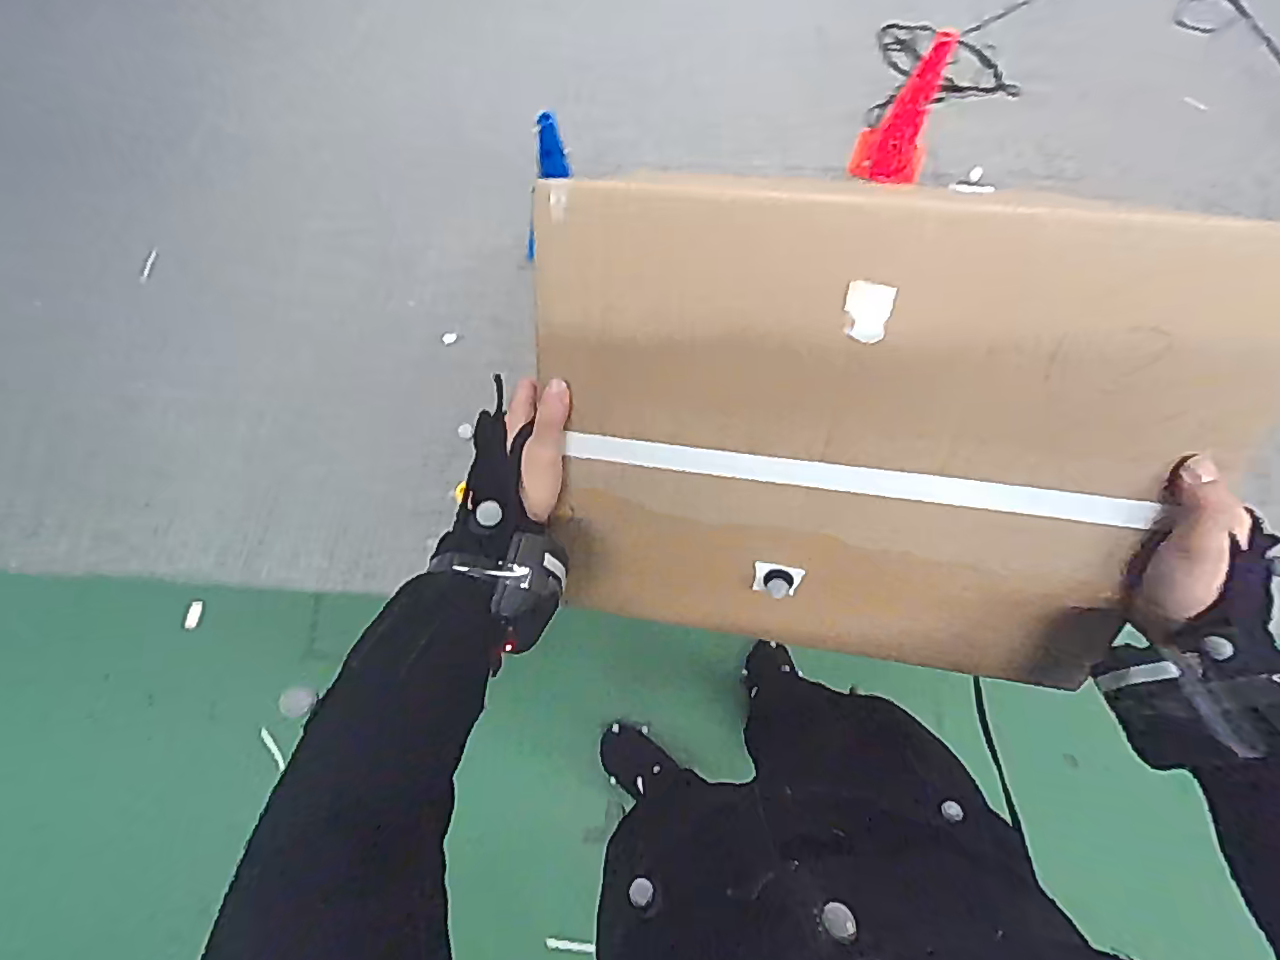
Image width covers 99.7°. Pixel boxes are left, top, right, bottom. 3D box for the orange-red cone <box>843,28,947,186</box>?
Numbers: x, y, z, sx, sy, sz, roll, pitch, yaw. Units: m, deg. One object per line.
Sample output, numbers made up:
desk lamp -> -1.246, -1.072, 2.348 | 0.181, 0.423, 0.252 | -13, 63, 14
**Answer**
orange-red cone -> 0.741, -1.049, 1.499 | 0.199, 0.360, 0.198 | 22, 73, 7
